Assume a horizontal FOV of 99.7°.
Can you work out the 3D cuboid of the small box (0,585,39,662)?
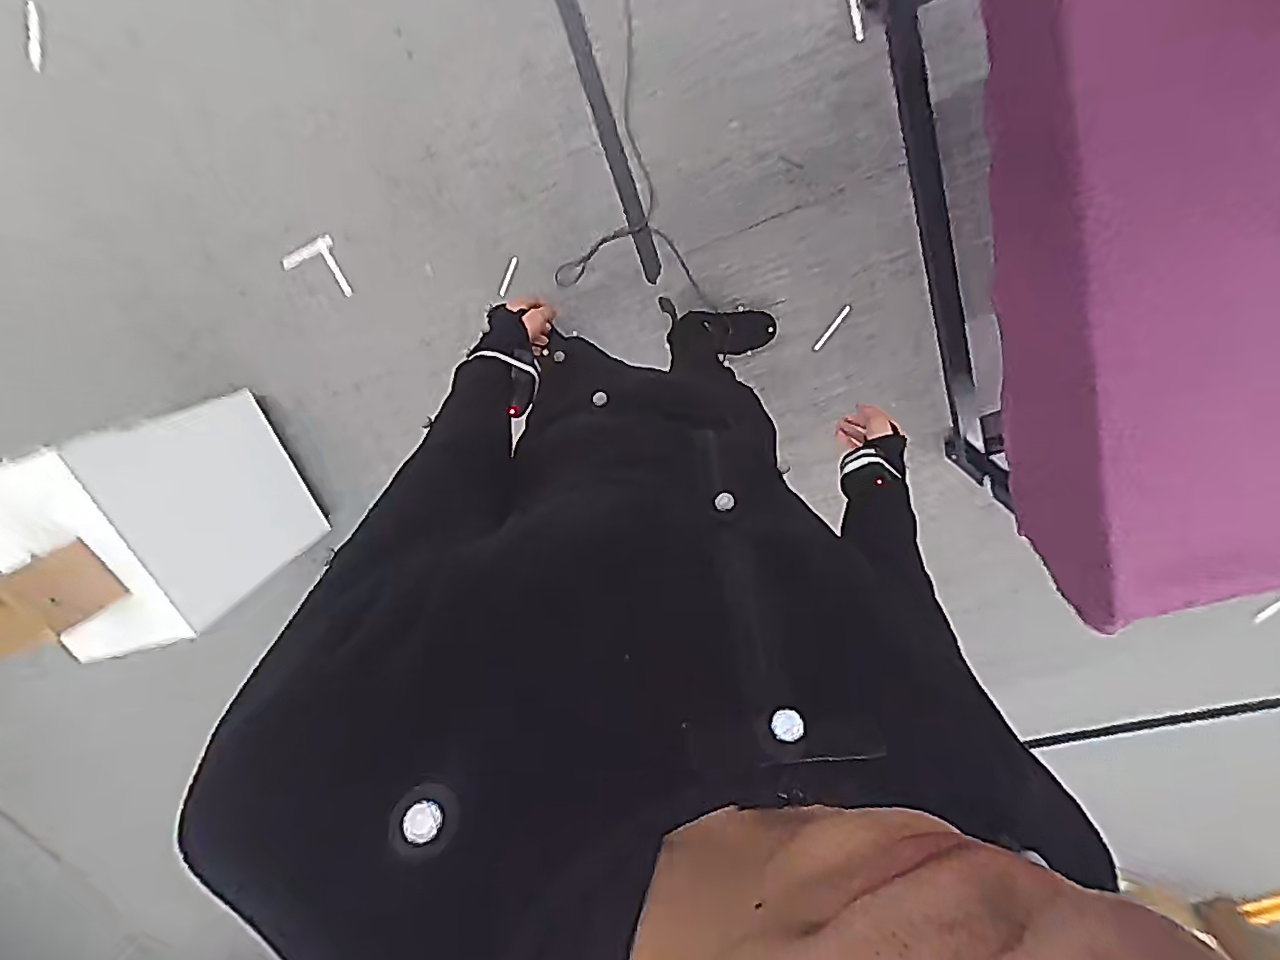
[{"bbox_3d":[-1.387,0.315,1.082,0.179,0.176,0.168,-18,111,14],"label":"small box"}]

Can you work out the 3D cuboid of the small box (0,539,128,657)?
[{"bbox_3d":[-1.350,0.266,1.234,0.168,0.176,0.179,-21,109,14],"label":"small box"}]
